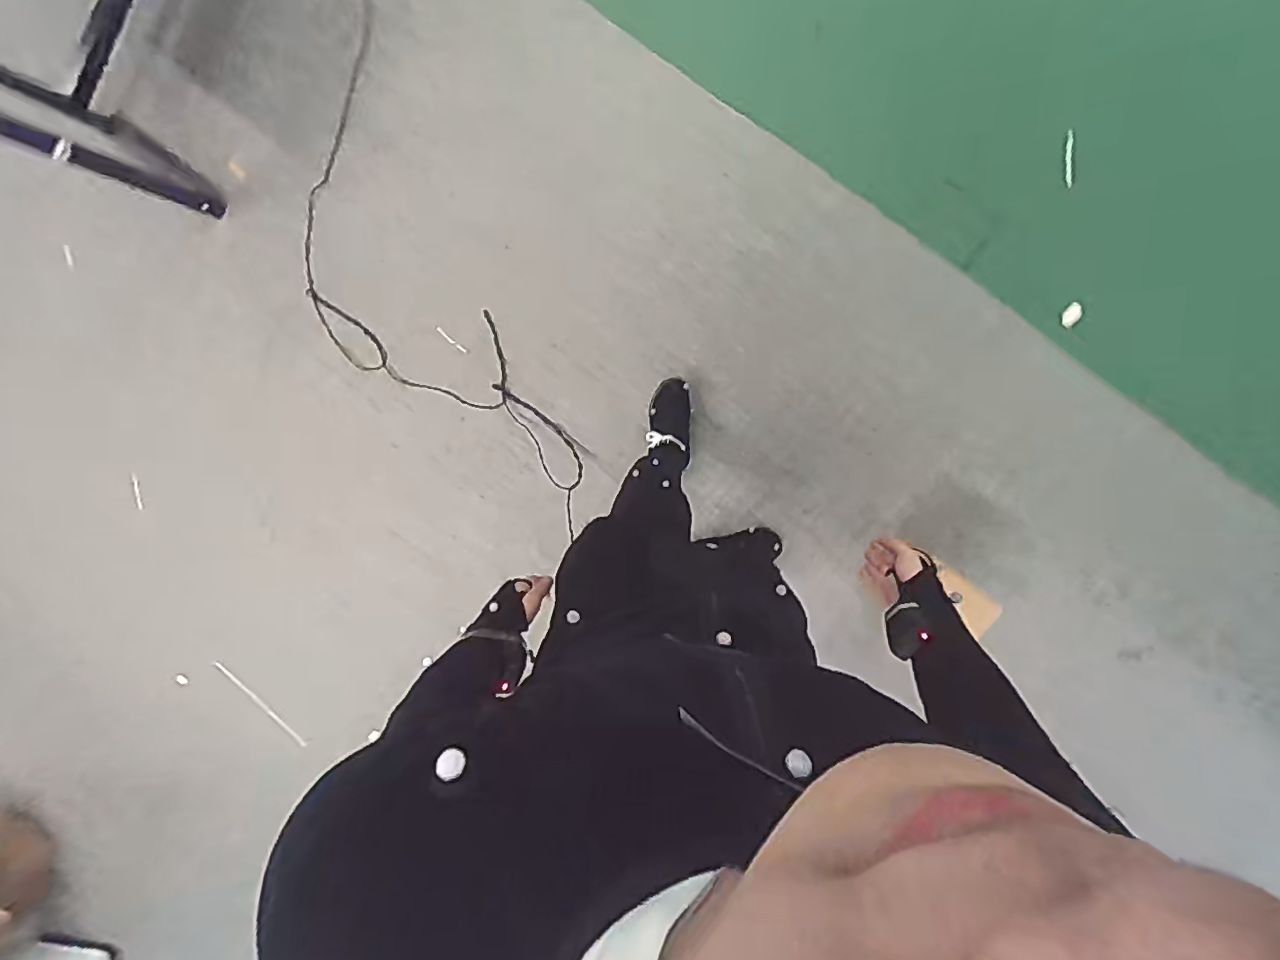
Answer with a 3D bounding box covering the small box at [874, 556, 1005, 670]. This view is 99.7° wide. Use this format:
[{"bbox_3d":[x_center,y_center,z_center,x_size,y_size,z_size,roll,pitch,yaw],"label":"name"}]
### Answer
[{"bbox_3d":[0.673,0.292,1.241,0.179,0.176,0.168,37,101,5],"label":"small box"}]
